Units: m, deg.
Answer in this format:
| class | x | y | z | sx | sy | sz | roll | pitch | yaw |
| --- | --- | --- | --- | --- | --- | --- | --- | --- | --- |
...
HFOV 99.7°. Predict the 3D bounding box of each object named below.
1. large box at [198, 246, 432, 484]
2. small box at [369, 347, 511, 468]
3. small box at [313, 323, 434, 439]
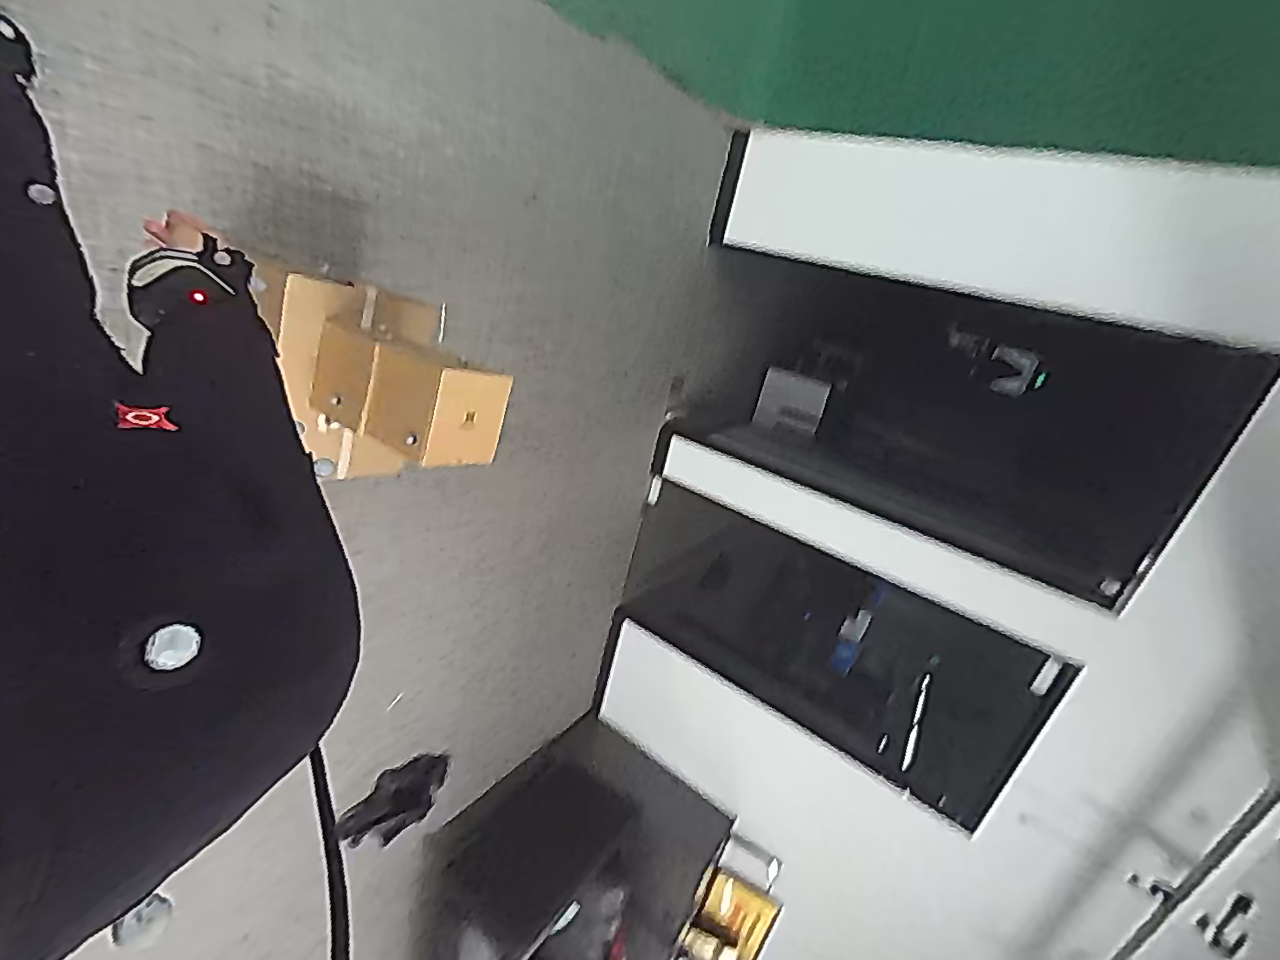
| class | x | y | z | sx | sy | sz | roll | pitch | yaw |
| --- | --- | --- | --- | --- | --- | --- | --- | --- | --- |
| large box | -0.716 | -0.245 | 1.190 | 0.320 | 0.320 | 0.408 | -7 | 119 | -58 |
| small box | -0.372 | -0.136 | 1.002 | 0.168 | 0.176 | 0.179 | -8 | 120 | -60 |
| small box | -0.512 | -0.190 | 1.064 | 0.168 | 0.176 | 0.179 | -7 | 118 | -60 |
